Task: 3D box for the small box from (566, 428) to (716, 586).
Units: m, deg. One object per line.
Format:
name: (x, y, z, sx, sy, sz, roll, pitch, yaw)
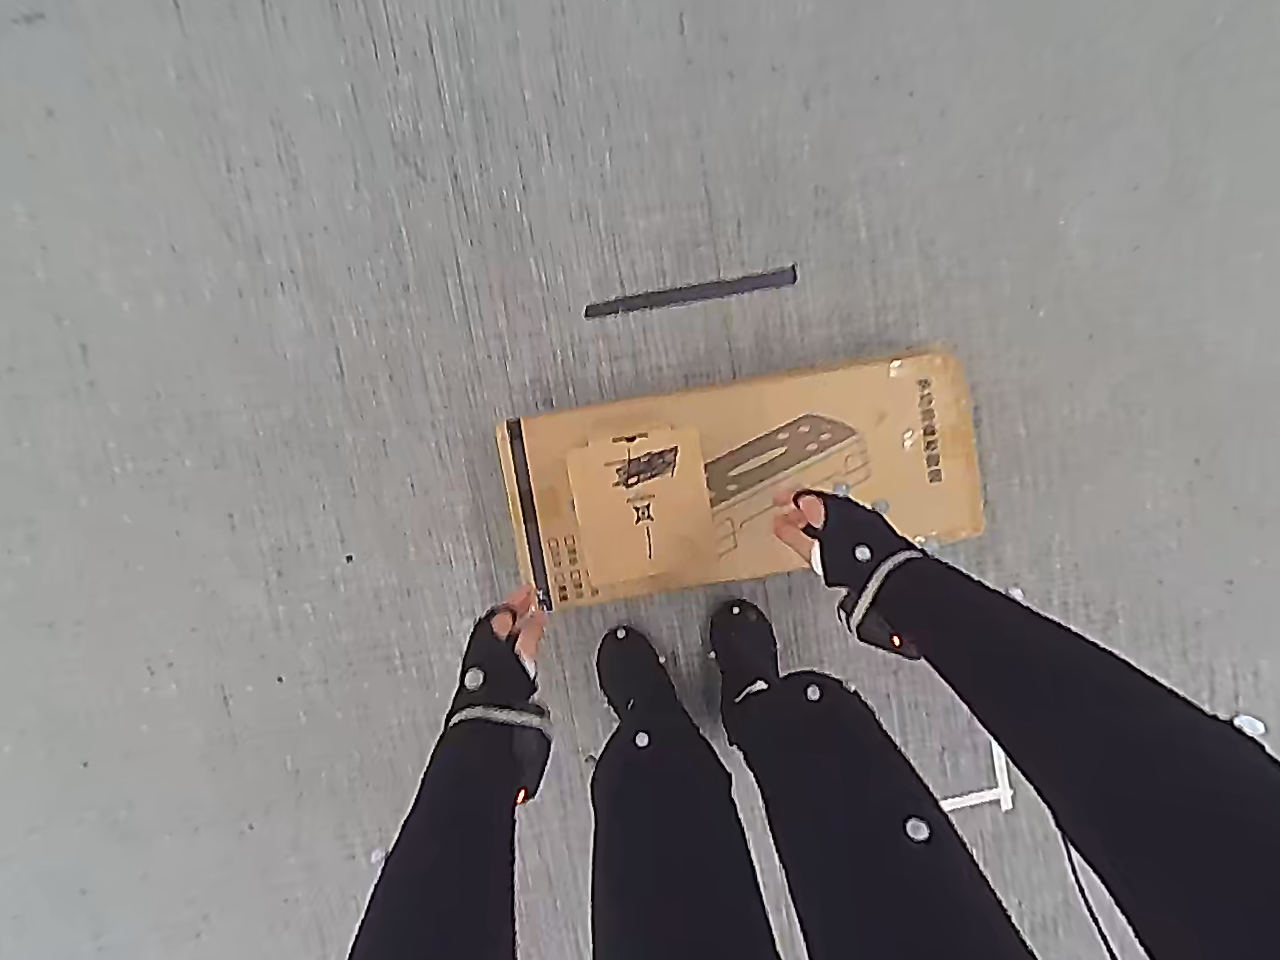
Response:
small box: (-0.003, 0.029, 0.749, 0.168, 0.176, 0.179, -11, 95, -2)
